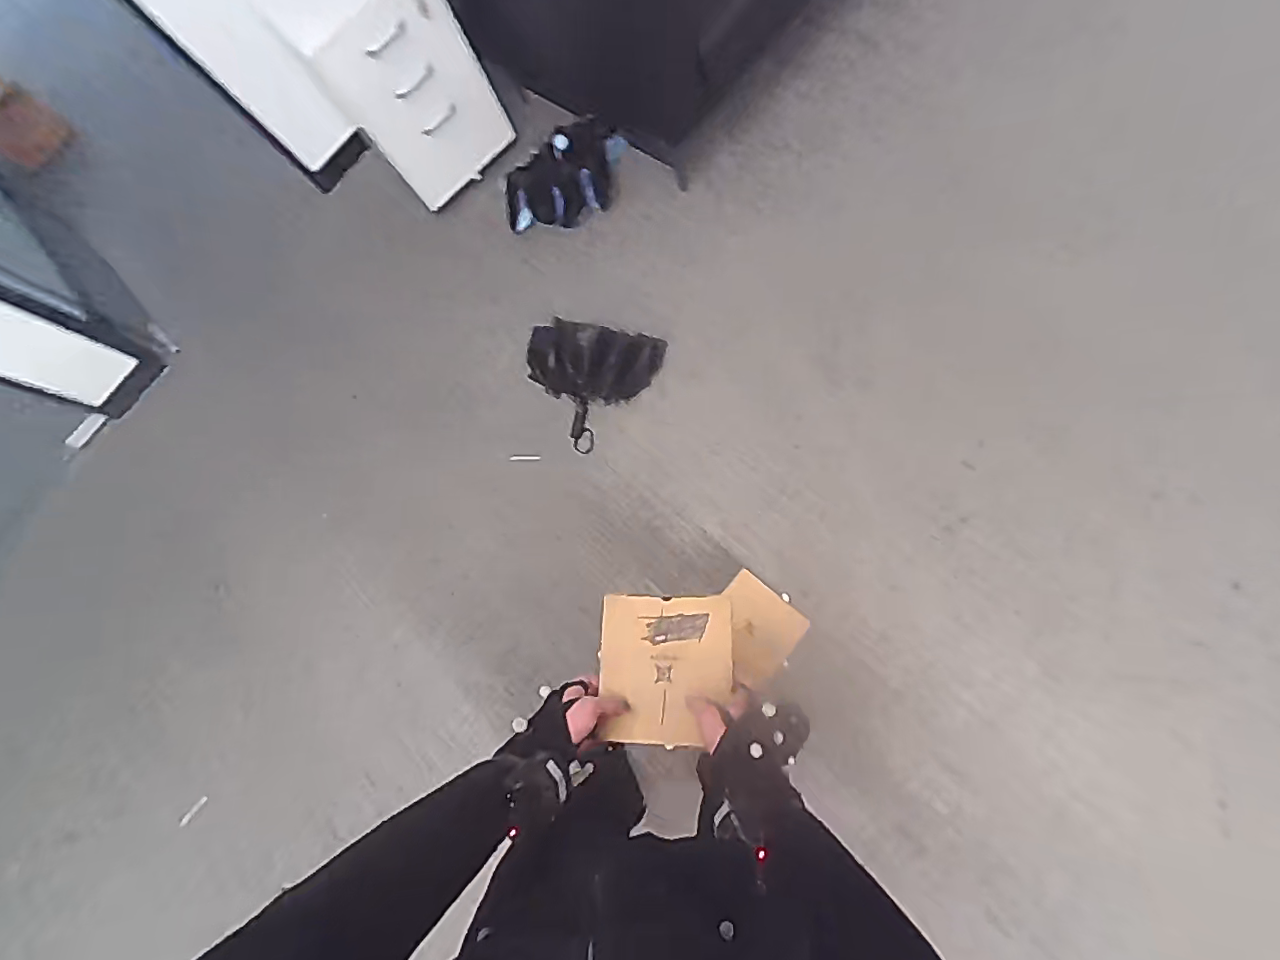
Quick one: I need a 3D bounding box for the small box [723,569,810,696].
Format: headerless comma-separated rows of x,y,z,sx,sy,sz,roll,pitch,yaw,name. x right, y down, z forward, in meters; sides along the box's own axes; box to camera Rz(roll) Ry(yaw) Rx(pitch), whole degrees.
0.223,0.308,1.096,0.168,0.176,0.179,39,85,20,small box

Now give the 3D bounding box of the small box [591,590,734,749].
0.040,0.249,0.720,0.168,0.176,0.179,-1,70,10,small box
